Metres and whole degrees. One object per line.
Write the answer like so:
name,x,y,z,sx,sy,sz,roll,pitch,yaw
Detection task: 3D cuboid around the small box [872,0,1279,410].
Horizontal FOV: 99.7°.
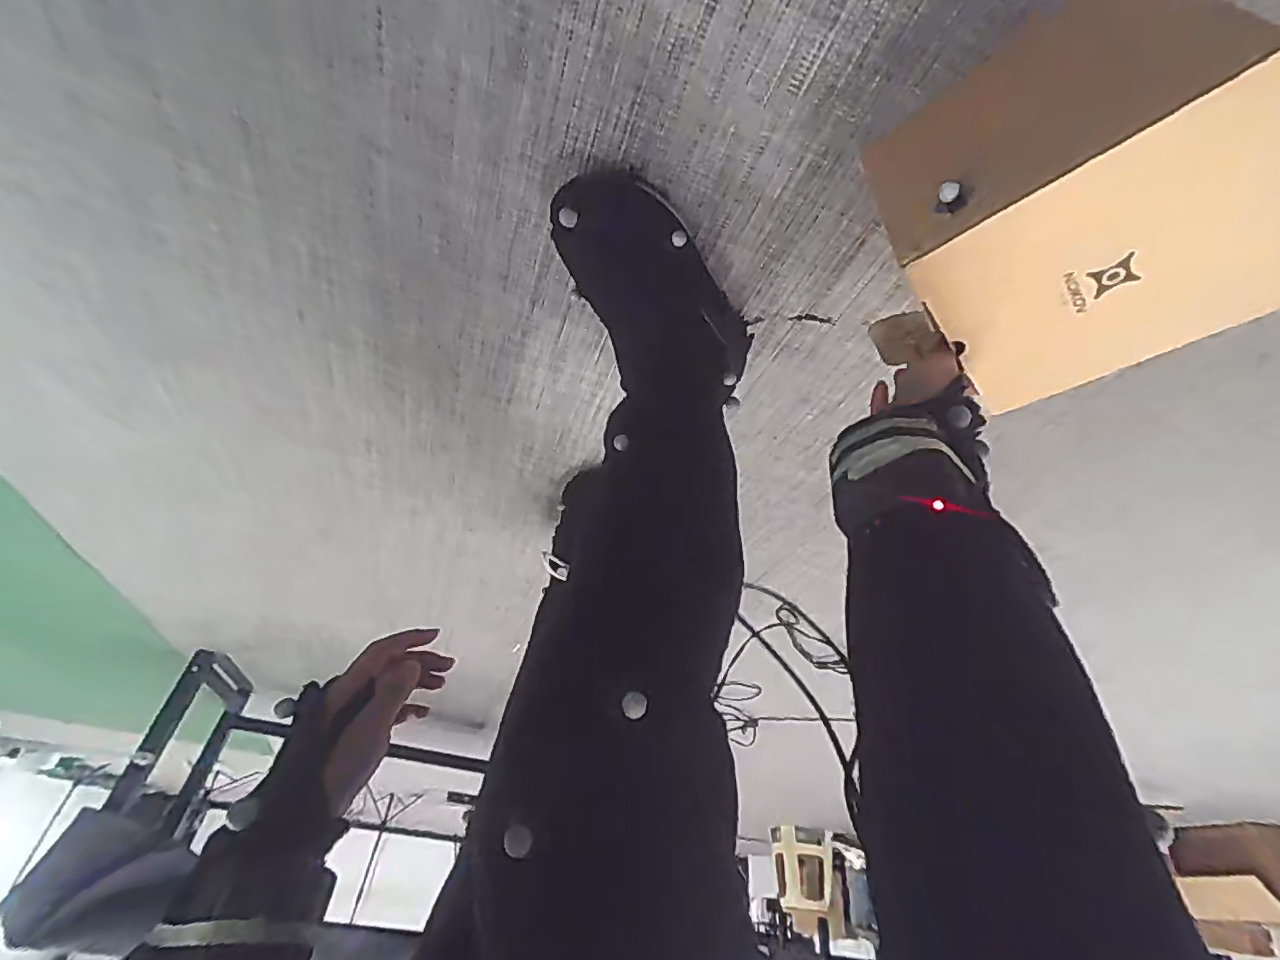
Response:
small box,0.283,-0.186,0.364,0.179,0.176,0.168,-26,132,36
